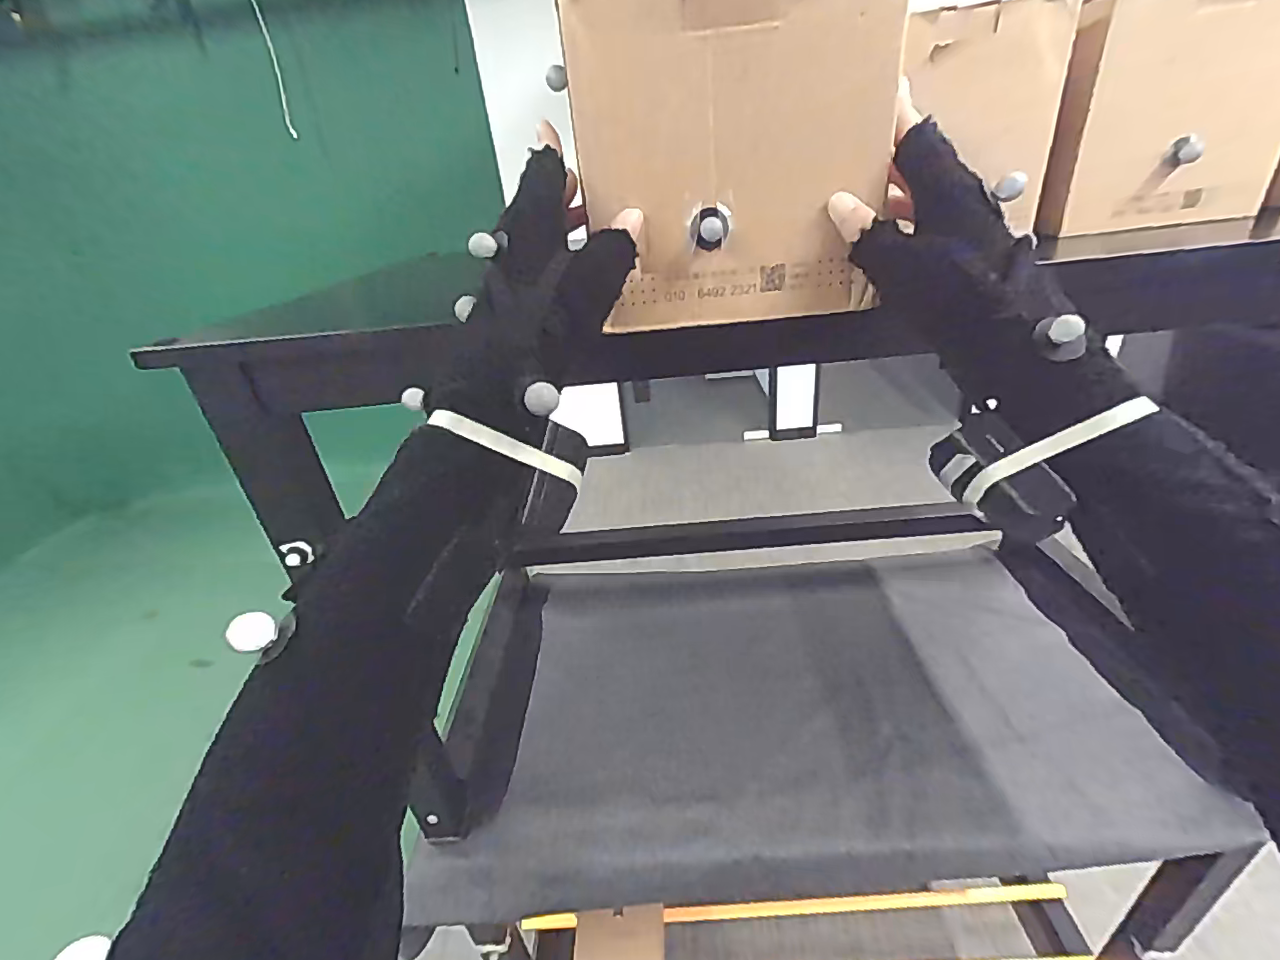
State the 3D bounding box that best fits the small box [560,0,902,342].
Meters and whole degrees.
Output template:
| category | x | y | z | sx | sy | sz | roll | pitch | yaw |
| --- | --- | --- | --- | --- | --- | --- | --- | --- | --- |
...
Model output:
| category | x | y | z | sx | sy | sz | roll | pitch | yaw |
| --- | --- | --- | --- | --- | --- | --- | --- | --- | --- |
| small box | 0.051 | -0.200 | 0.365 | 0.168 | 0.176 | 0.179 | -5 | 30 | 4 |
